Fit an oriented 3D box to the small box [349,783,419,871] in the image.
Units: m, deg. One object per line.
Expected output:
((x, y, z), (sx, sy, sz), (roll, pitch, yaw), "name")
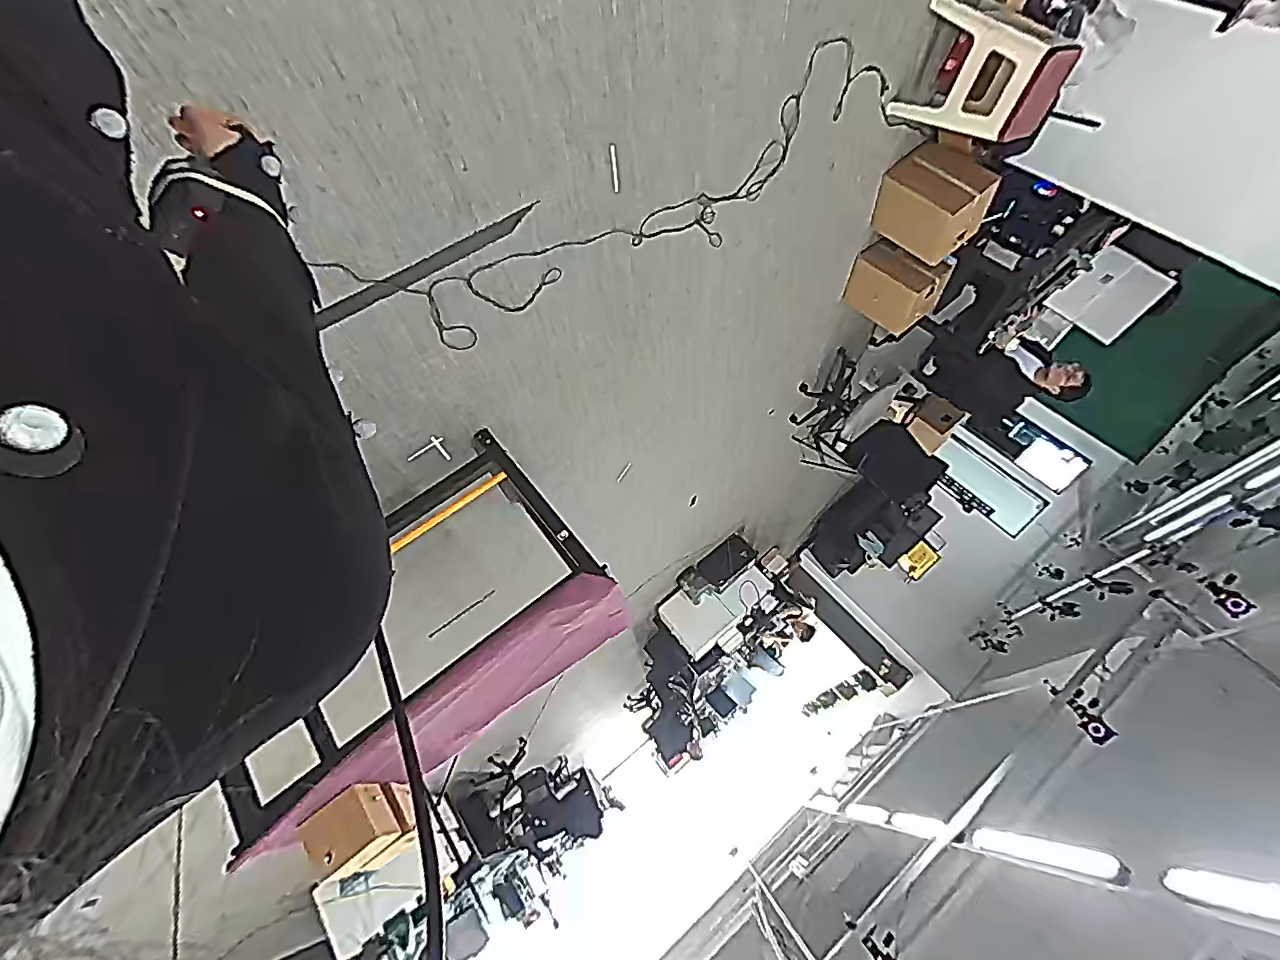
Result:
((-0.847, 1.106, 1.730), (0.179, 0.176, 0.168), (-32, 152, -20), "small box")

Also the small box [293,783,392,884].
((-0.859, 1.008, 1.556), (0.179, 0.176, 0.168), (-36, 157, -17), "small box")
